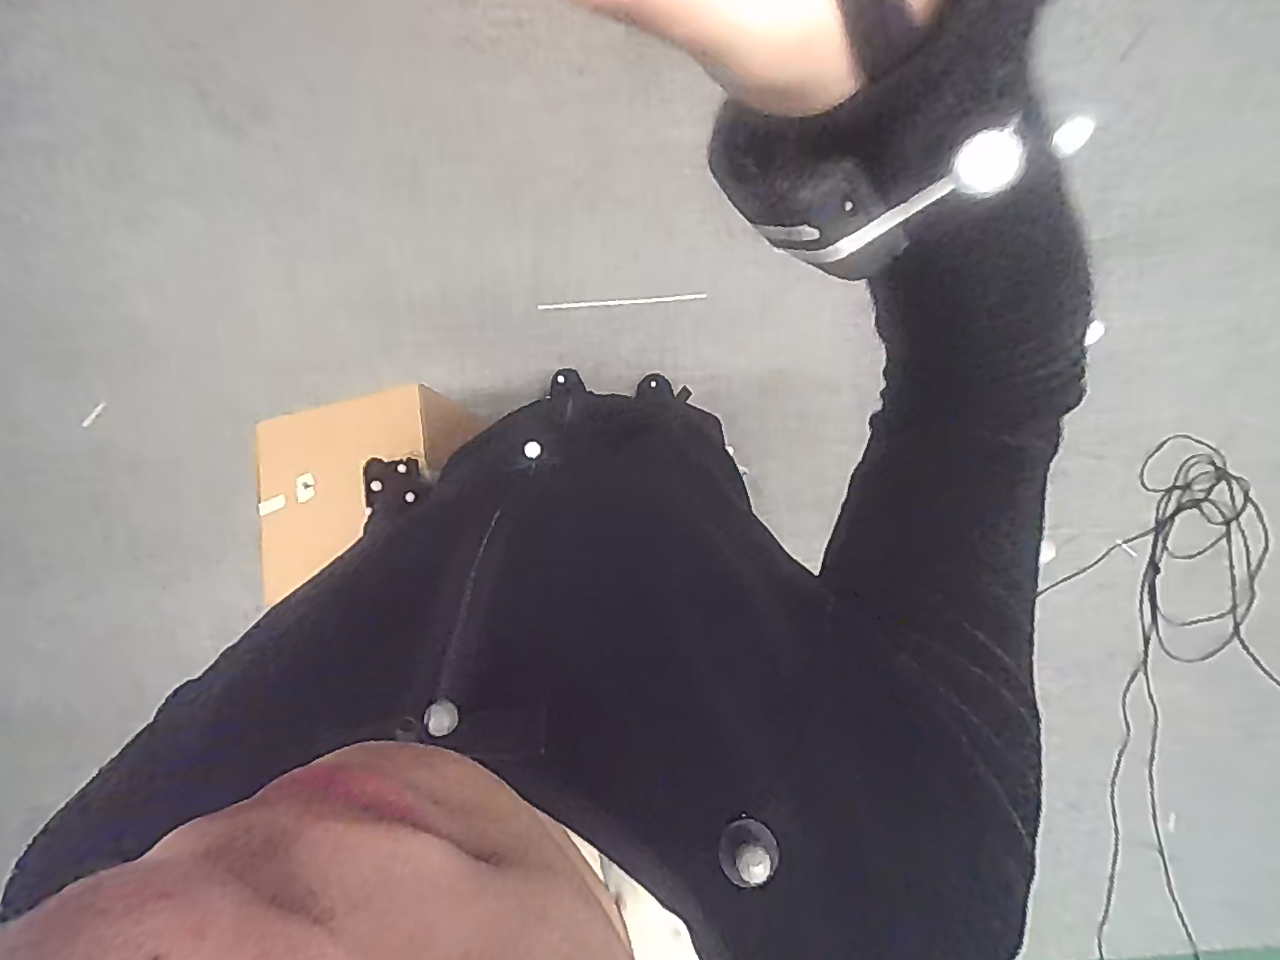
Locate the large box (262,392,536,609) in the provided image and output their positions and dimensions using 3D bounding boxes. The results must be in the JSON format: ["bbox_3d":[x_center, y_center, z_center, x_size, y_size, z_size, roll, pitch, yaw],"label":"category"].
[{"bbox_3d":[-0.440,0.058,1.064,0.320,0.408,0.320,-11,80,9],"label":"large box"}]
